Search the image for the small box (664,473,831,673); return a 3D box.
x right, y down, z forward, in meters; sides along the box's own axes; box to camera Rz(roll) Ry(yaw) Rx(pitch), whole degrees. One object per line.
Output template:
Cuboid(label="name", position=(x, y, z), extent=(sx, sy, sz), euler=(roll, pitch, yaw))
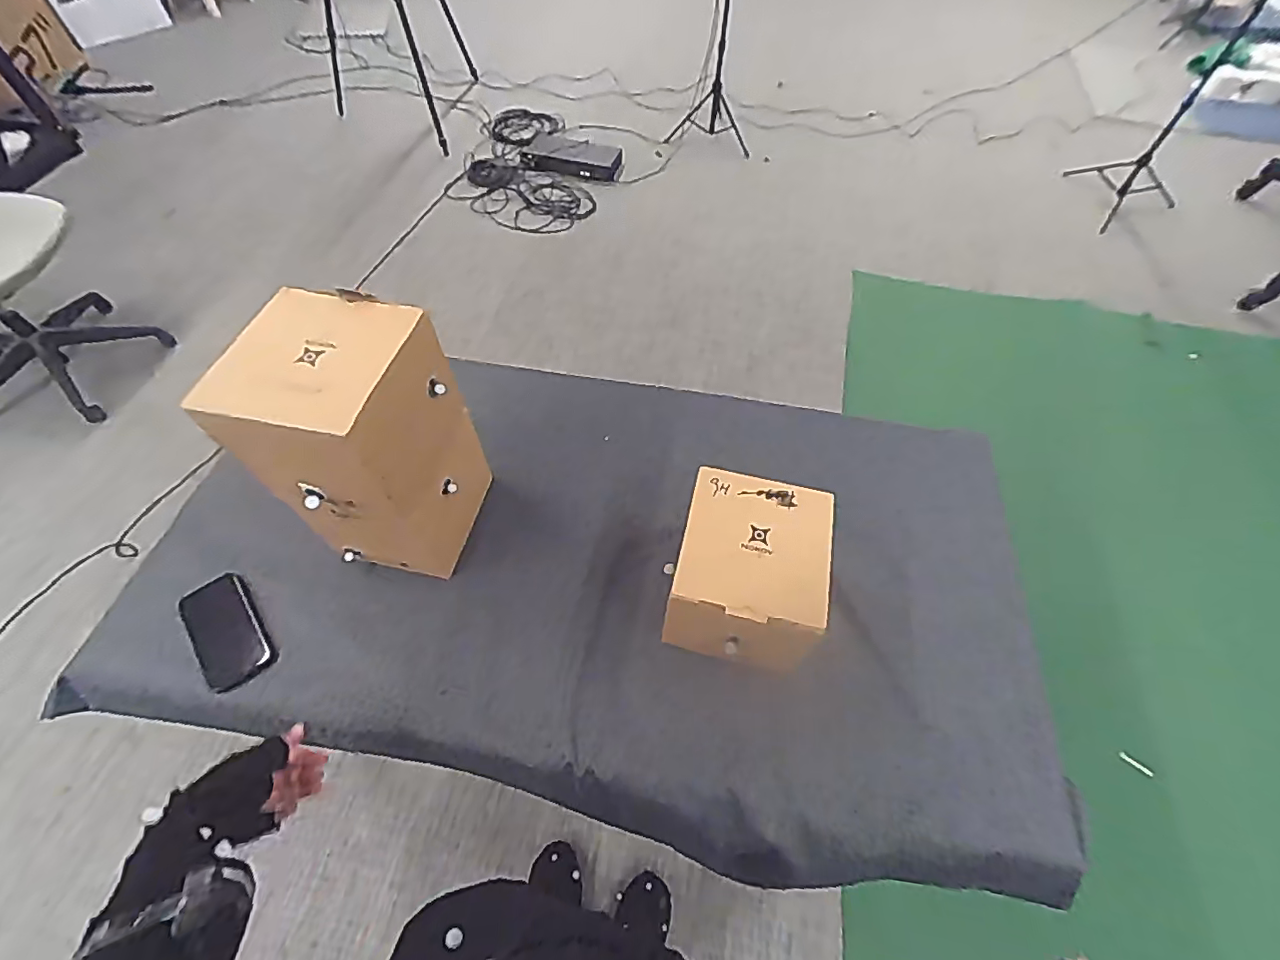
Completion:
Cuboid(label="small box", position=(0.127, 0.122, 0.675), extent=(0.168, 0.176, 0.179), euler=(12, 57, 7))

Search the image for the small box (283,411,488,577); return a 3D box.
Cuboid(label="small box", position=(-0.324, 0.012, 0.735), extent=(0.168, 0.176, 0.179), euler=(11, 56, 5))

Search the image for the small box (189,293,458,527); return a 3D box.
Cuboid(label="small box", position=(-0.320, -0.073, 0.597), extent=(0.168, 0.176, 0.179), euler=(10, 58, 6))
